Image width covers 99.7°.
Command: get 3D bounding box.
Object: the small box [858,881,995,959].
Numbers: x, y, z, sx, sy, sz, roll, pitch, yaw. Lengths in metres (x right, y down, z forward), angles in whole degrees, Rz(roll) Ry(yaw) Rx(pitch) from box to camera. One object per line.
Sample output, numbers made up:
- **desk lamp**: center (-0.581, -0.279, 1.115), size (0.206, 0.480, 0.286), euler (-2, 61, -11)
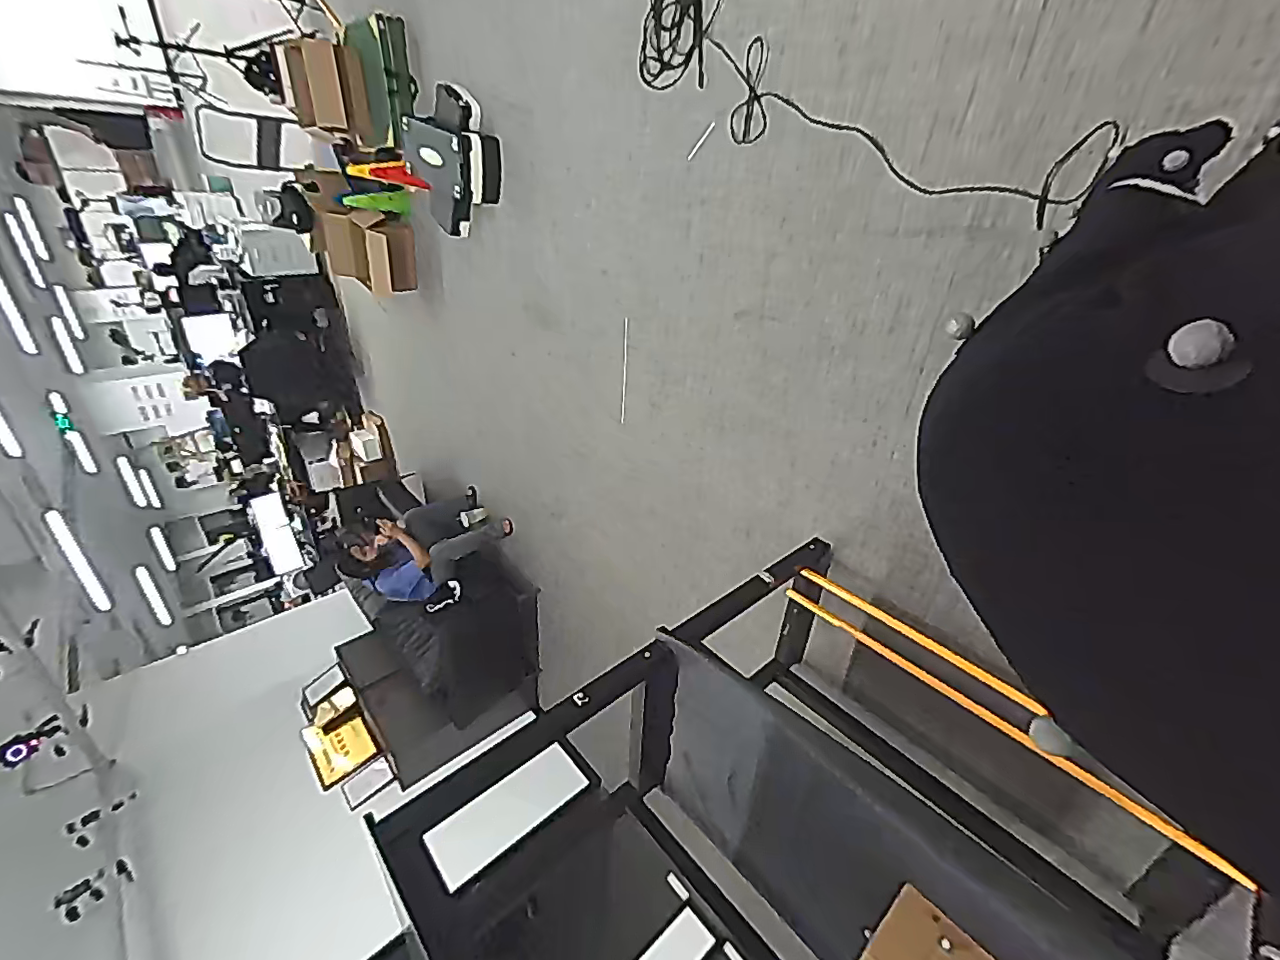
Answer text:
- **small box**: center (0.499, 0.881, 0.966), size (0.168, 0.176, 0.179), euler (30, 129, 39)
